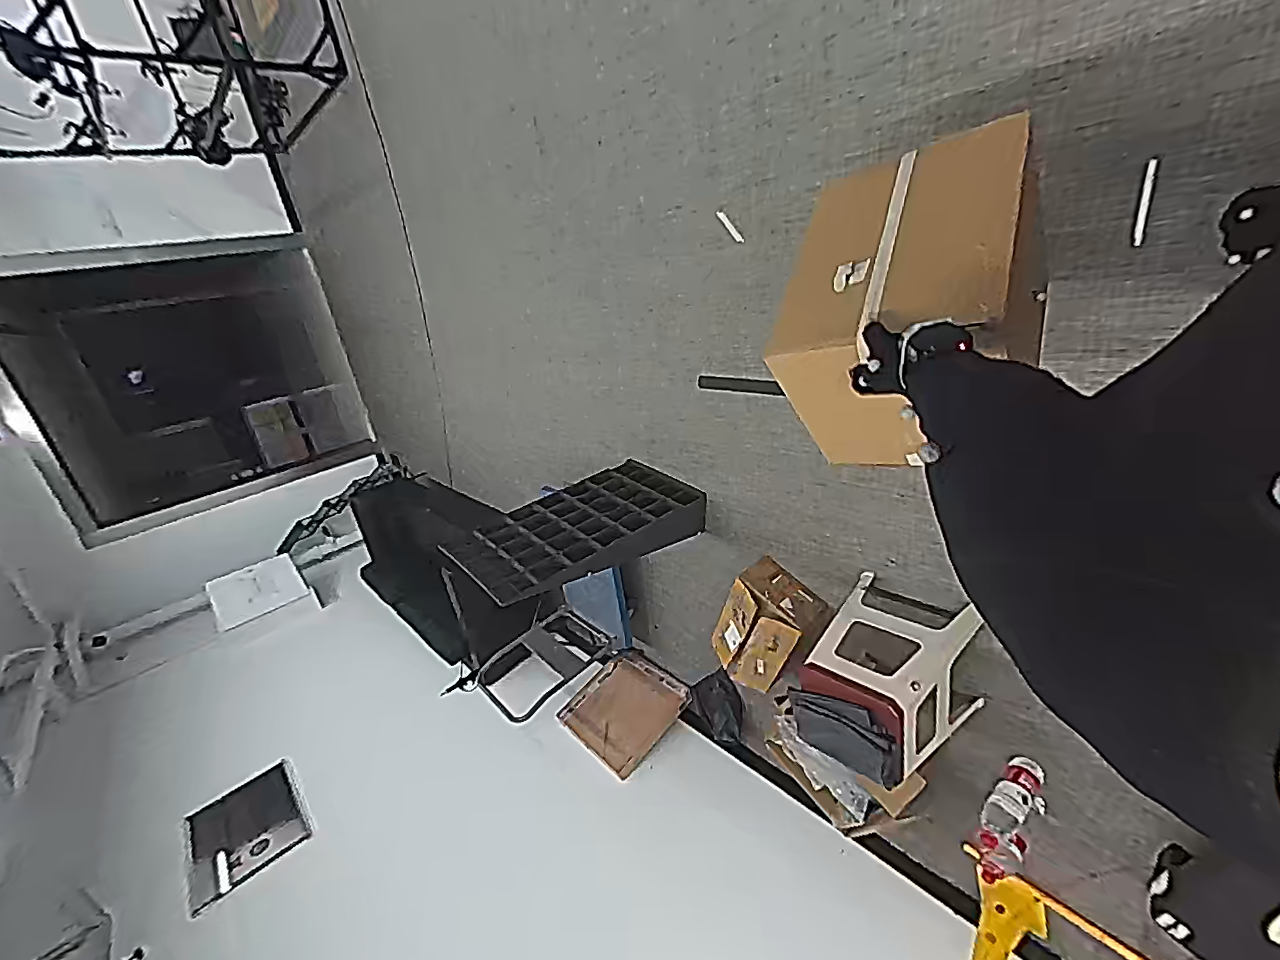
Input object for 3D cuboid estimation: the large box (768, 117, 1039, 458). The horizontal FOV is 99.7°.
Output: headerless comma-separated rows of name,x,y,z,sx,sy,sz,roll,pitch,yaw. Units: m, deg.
large box,0.459,-0.285,0.903,0.320,0.408,0.320,2,151,42
